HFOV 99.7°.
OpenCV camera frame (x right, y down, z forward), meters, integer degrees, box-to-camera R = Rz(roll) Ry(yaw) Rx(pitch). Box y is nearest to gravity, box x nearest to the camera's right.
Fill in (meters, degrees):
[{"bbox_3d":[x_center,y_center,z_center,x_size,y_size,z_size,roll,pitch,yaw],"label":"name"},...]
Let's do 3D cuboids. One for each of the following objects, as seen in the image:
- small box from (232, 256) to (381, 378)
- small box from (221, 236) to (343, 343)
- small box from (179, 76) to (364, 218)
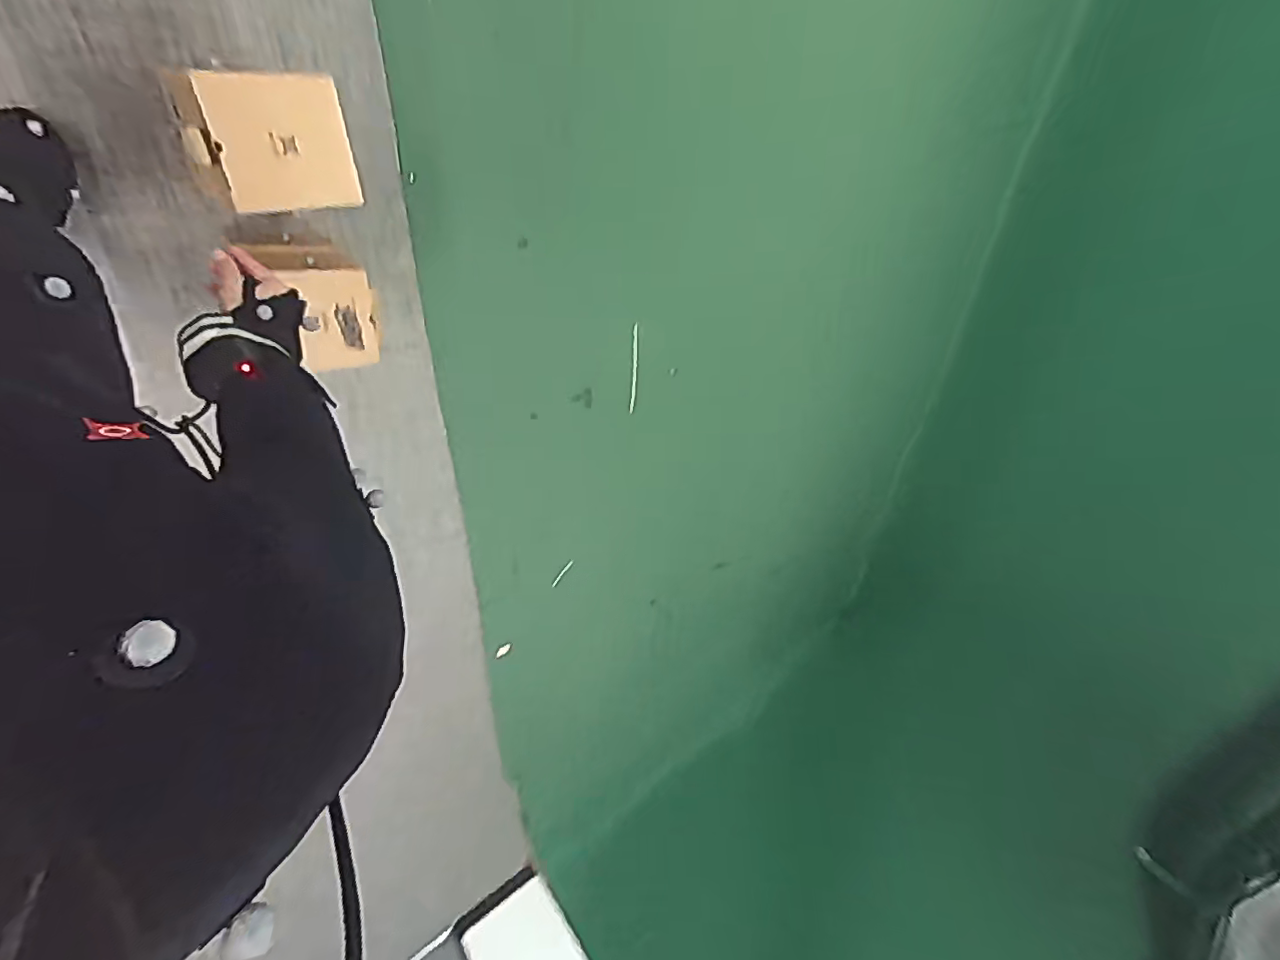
[{"bbox_3d":[-0.581,-0.293,0.947,0.179,0.176,0.168,-17,127,-34],"label":"small box"},{"bbox_3d":[-0.681,-0.374,1.050,0.179,0.176,0.168,-17,127,-34],"label":"small box"},{"bbox_3d":[-0.554,-0.507,0.820,0.179,0.176,0.168,-24,132,-31],"label":"small box"}]
